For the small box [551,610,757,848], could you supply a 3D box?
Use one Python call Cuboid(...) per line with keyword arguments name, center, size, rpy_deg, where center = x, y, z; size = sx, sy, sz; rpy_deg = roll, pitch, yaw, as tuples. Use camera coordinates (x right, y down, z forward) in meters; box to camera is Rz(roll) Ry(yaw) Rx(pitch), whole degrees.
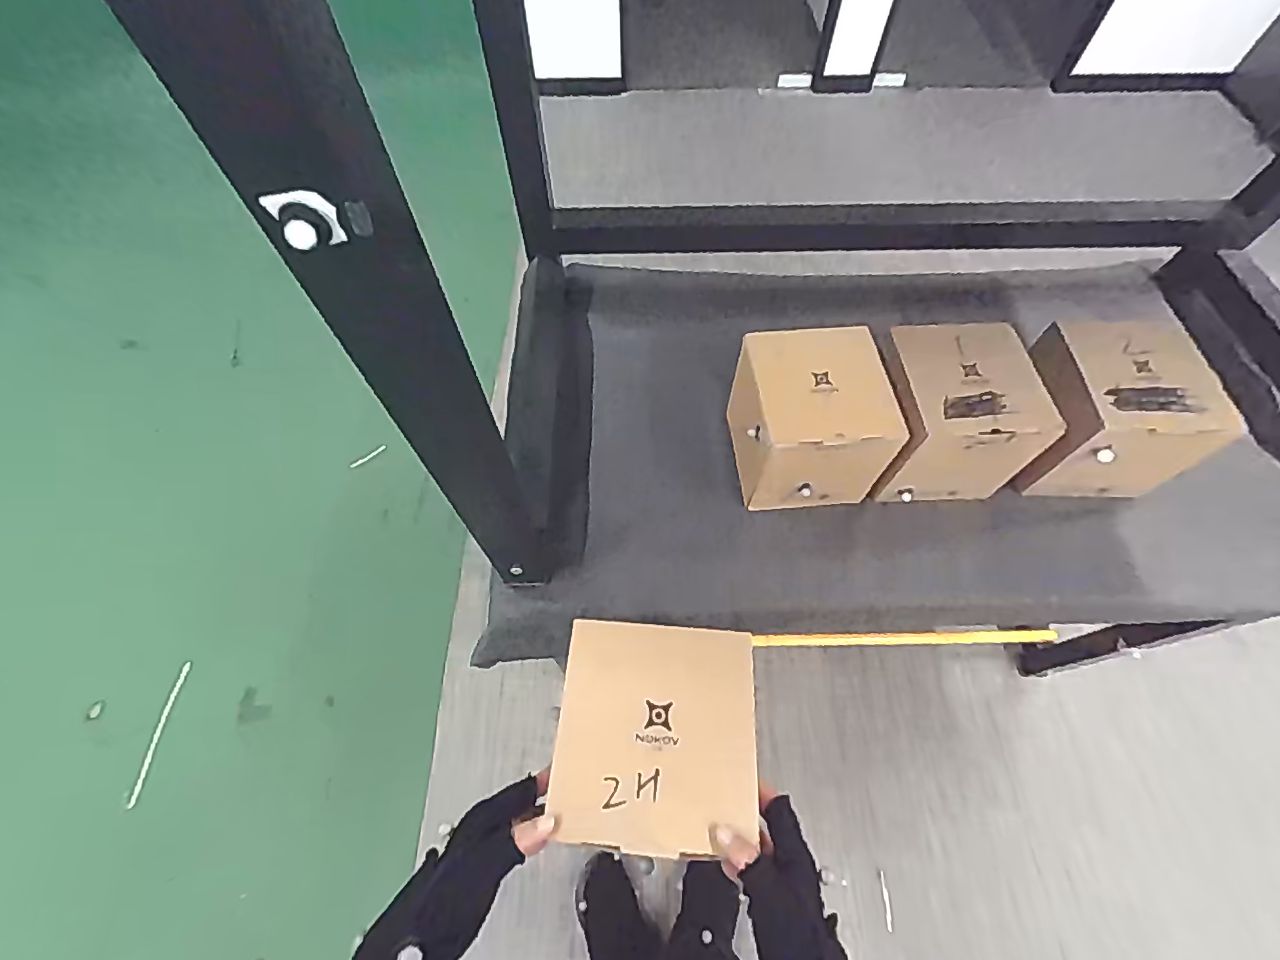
Cuboid(name="small box", center=(0.016, 0.248, 0.534), size=(0.168, 0.176, 0.179), rpy_deg=(4, 55, 3))
